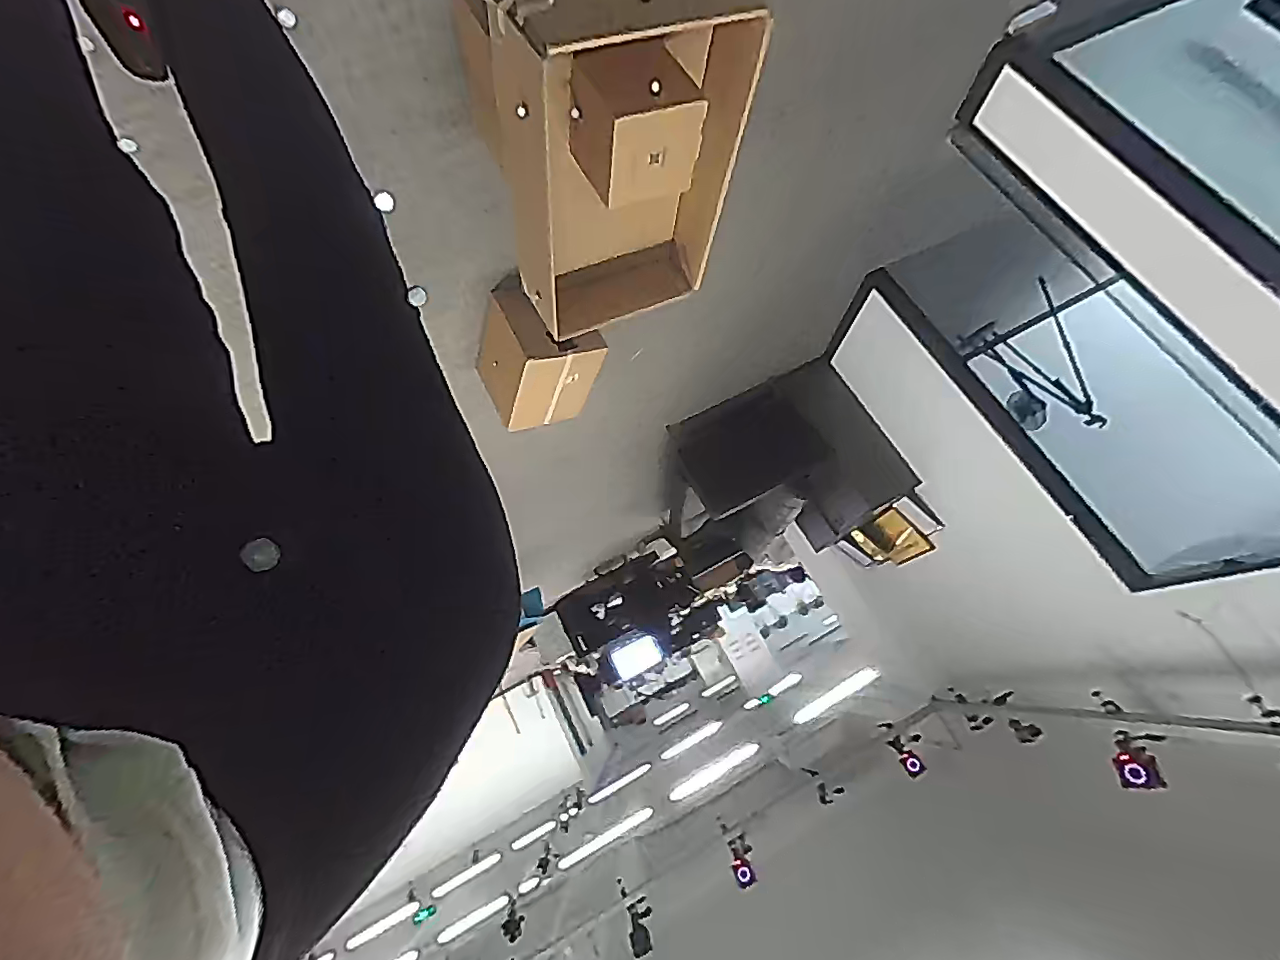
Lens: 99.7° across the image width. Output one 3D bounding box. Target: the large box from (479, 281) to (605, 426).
[{"bbox_3d":[-0.376,-0.458,1.979,0.320,0.320,0.408,-19,159,-32],"label":"large box"}]
